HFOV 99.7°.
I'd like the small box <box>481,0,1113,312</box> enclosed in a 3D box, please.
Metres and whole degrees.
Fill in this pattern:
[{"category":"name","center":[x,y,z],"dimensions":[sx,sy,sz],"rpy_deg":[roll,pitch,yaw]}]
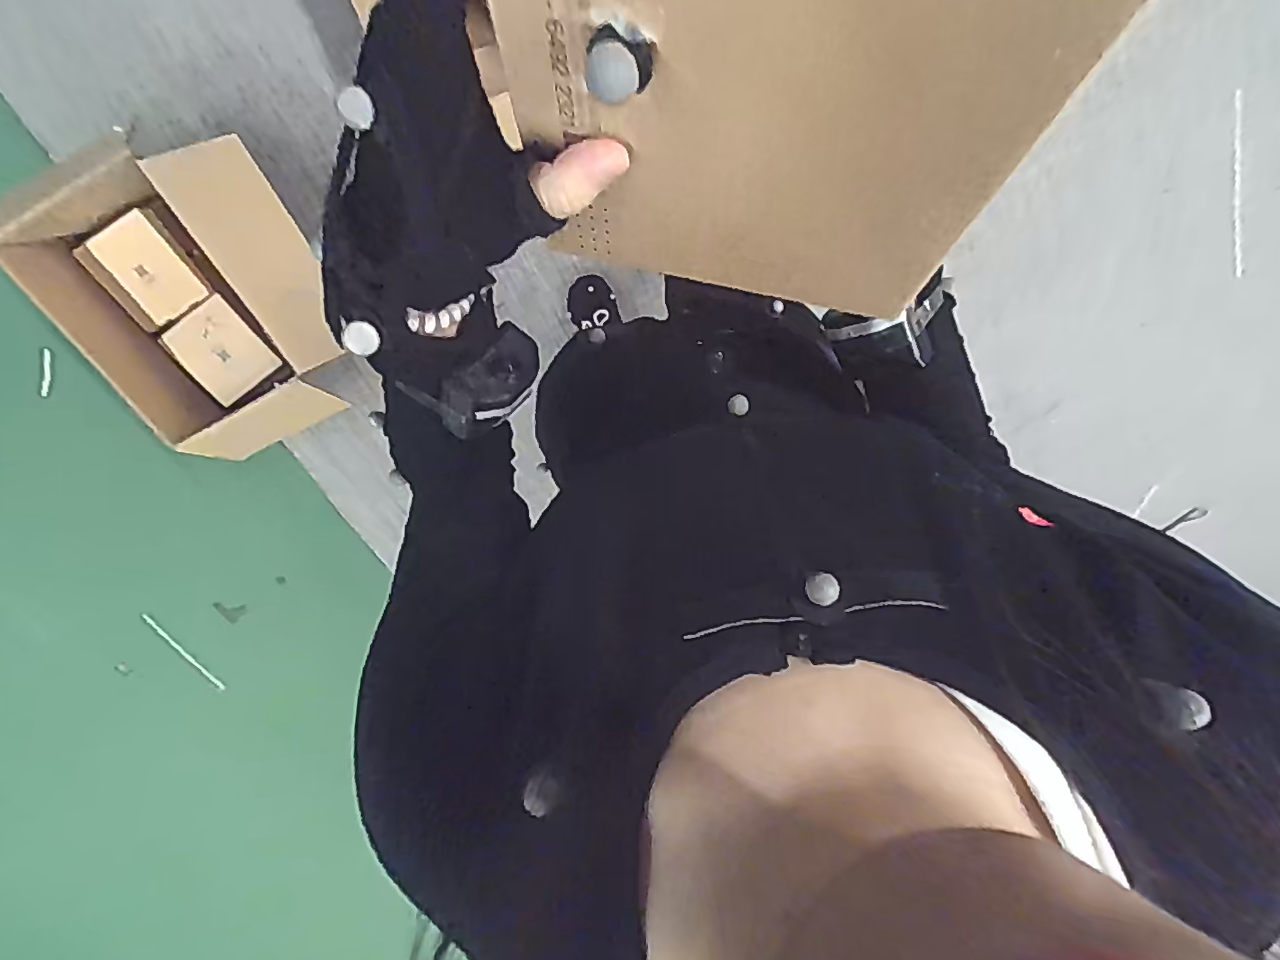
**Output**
[{"category":"small box","center":[0.051,-0.196,0.200],"dimensions":[0.176,0.168,0.179],"rpy_deg":[13,74,6]}]
